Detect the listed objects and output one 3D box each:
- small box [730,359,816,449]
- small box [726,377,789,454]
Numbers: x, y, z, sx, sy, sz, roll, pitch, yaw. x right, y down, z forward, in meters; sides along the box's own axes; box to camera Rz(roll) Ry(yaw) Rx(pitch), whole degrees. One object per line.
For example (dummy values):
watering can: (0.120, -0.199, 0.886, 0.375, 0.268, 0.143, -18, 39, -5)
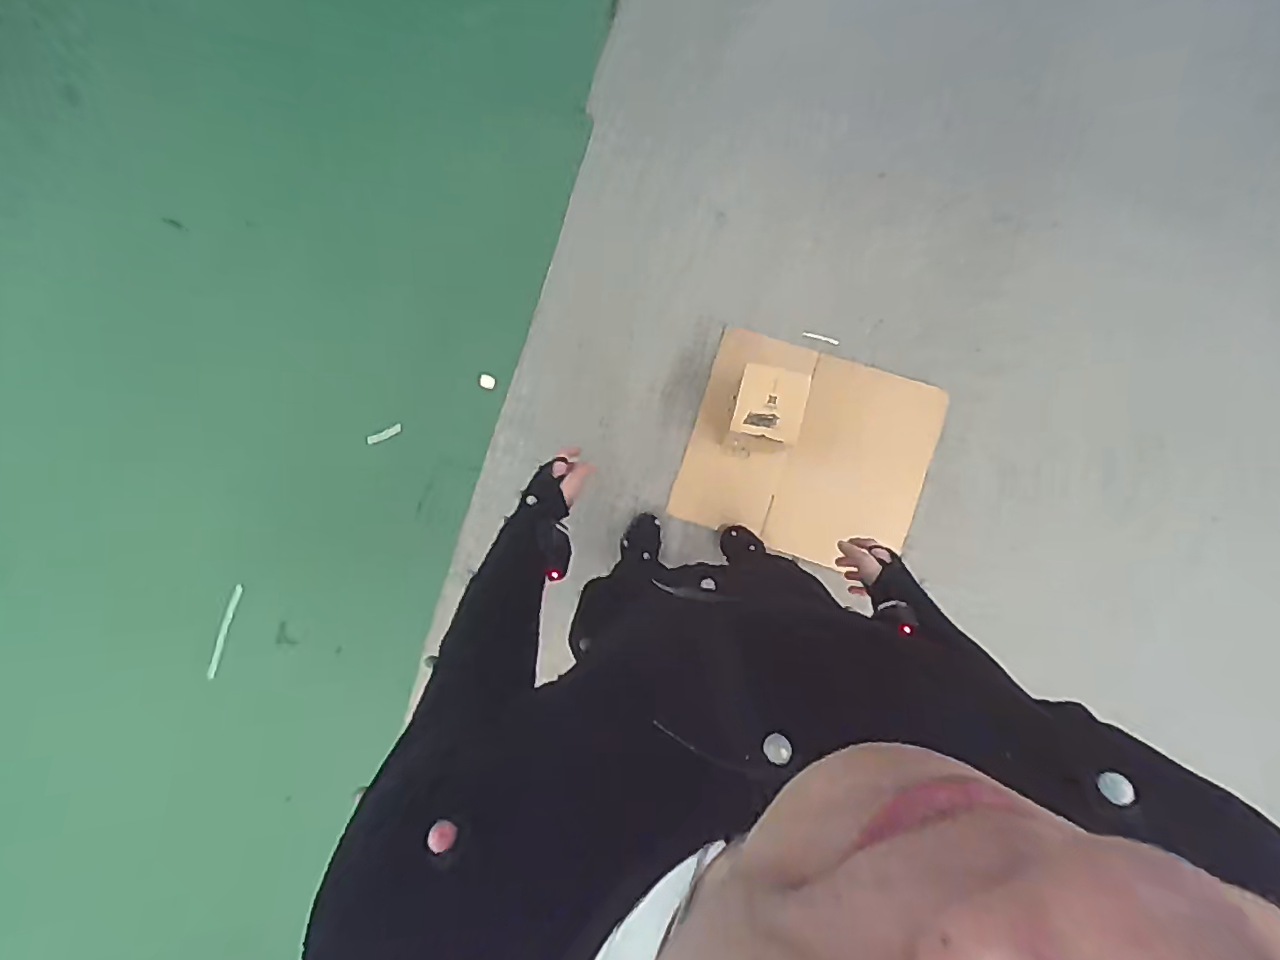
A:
small box: (0.329, -0.184, 1.372, 0.168, 0.176, 0.179, 14, 88, 5)
small box: (0.342, -0.178, 1.535, 0.168, 0.176, 0.179, 11, 89, 5)
